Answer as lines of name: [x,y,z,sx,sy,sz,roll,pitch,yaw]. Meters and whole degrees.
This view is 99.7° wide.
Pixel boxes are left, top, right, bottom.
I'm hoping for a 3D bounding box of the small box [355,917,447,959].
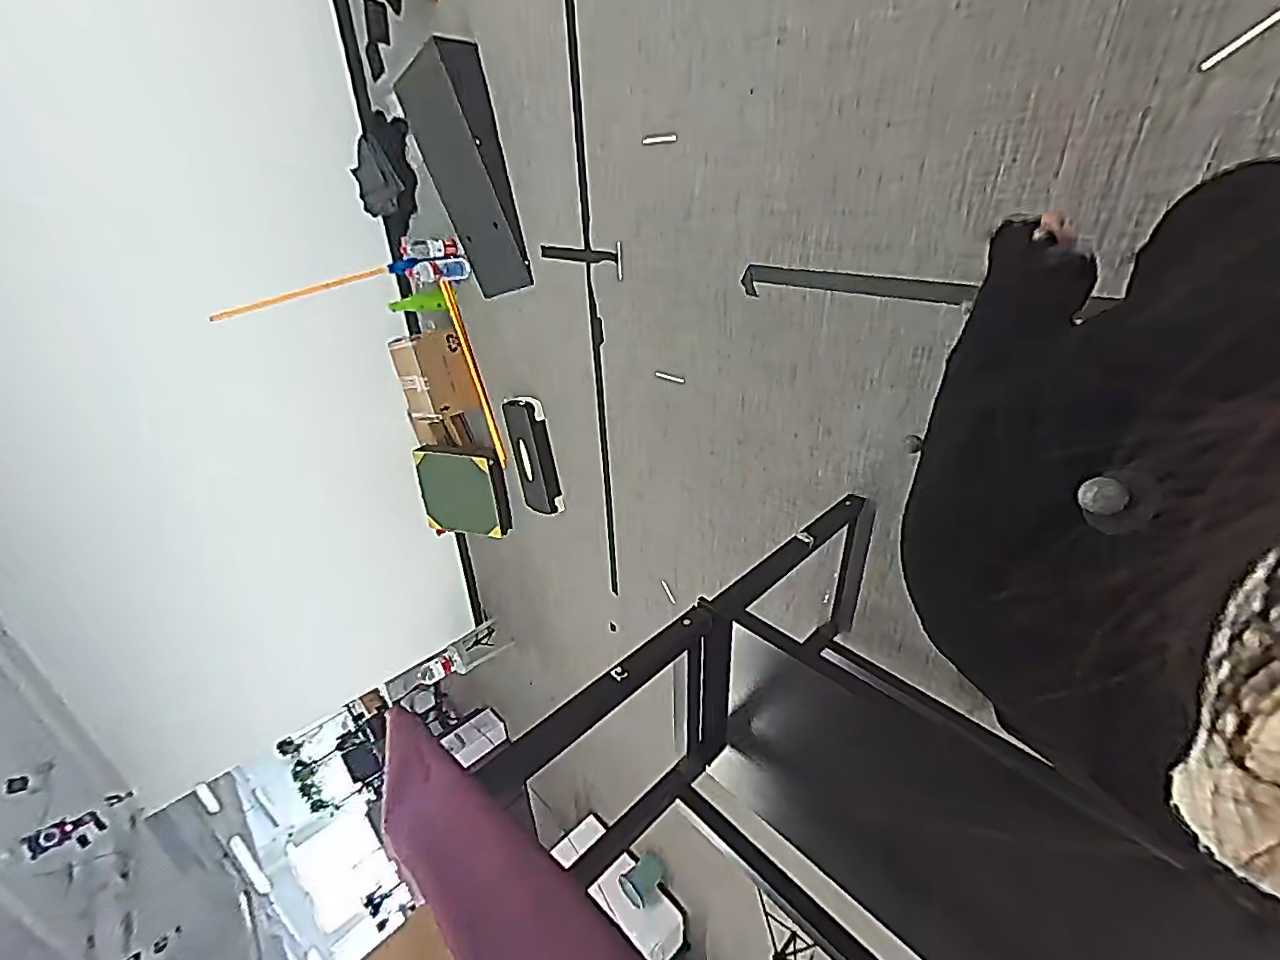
small box: [-0.330,0.754,0.740,0.179,0.176,0.168,31,133,37]
